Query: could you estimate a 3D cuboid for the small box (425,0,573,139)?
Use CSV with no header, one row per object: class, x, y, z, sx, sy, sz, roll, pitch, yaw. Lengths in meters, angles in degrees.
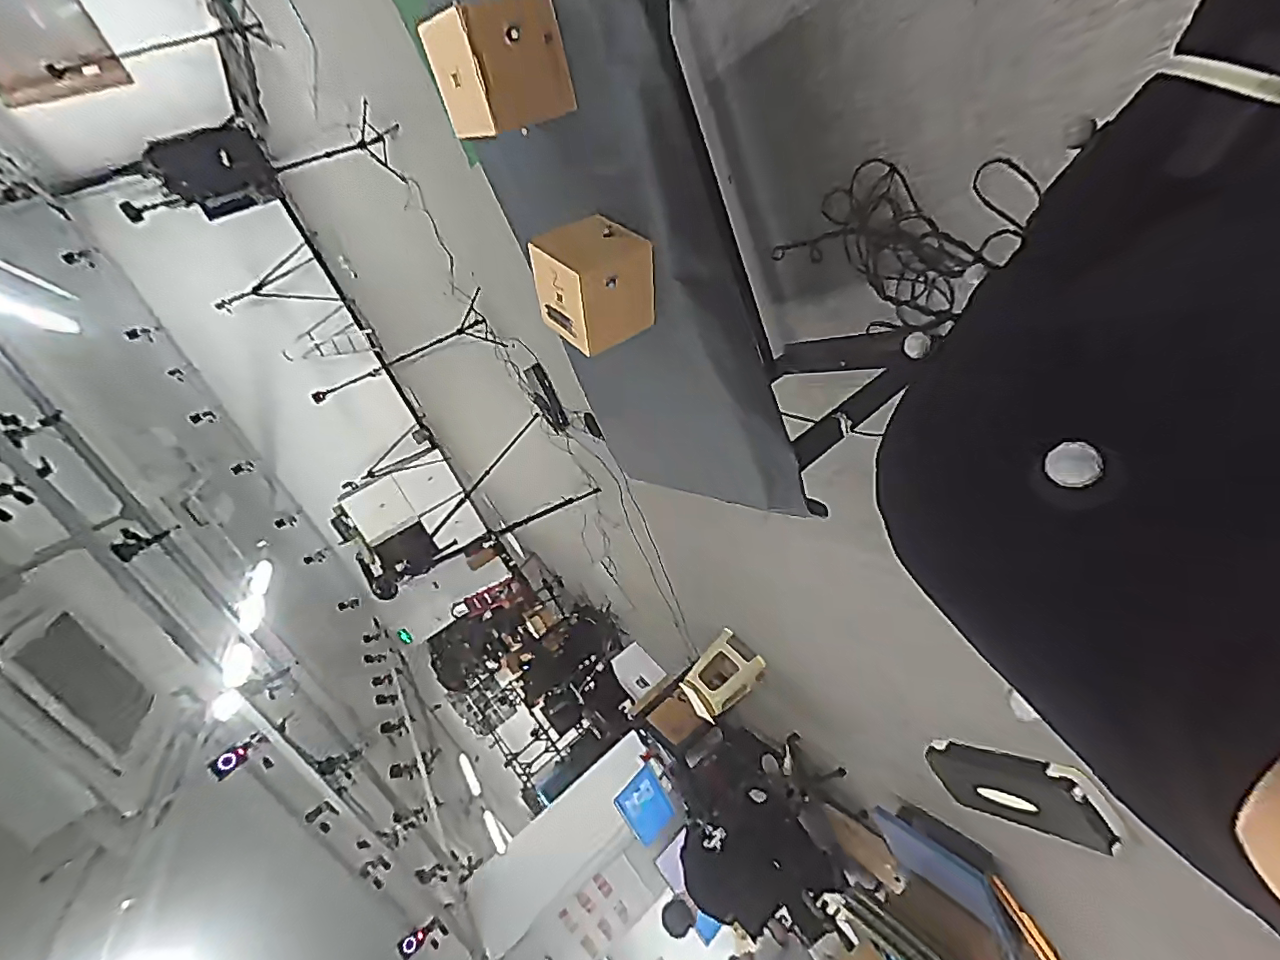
small box,-0.230,-0.701,0.924,0.179,0.176,0.168,34,147,44
